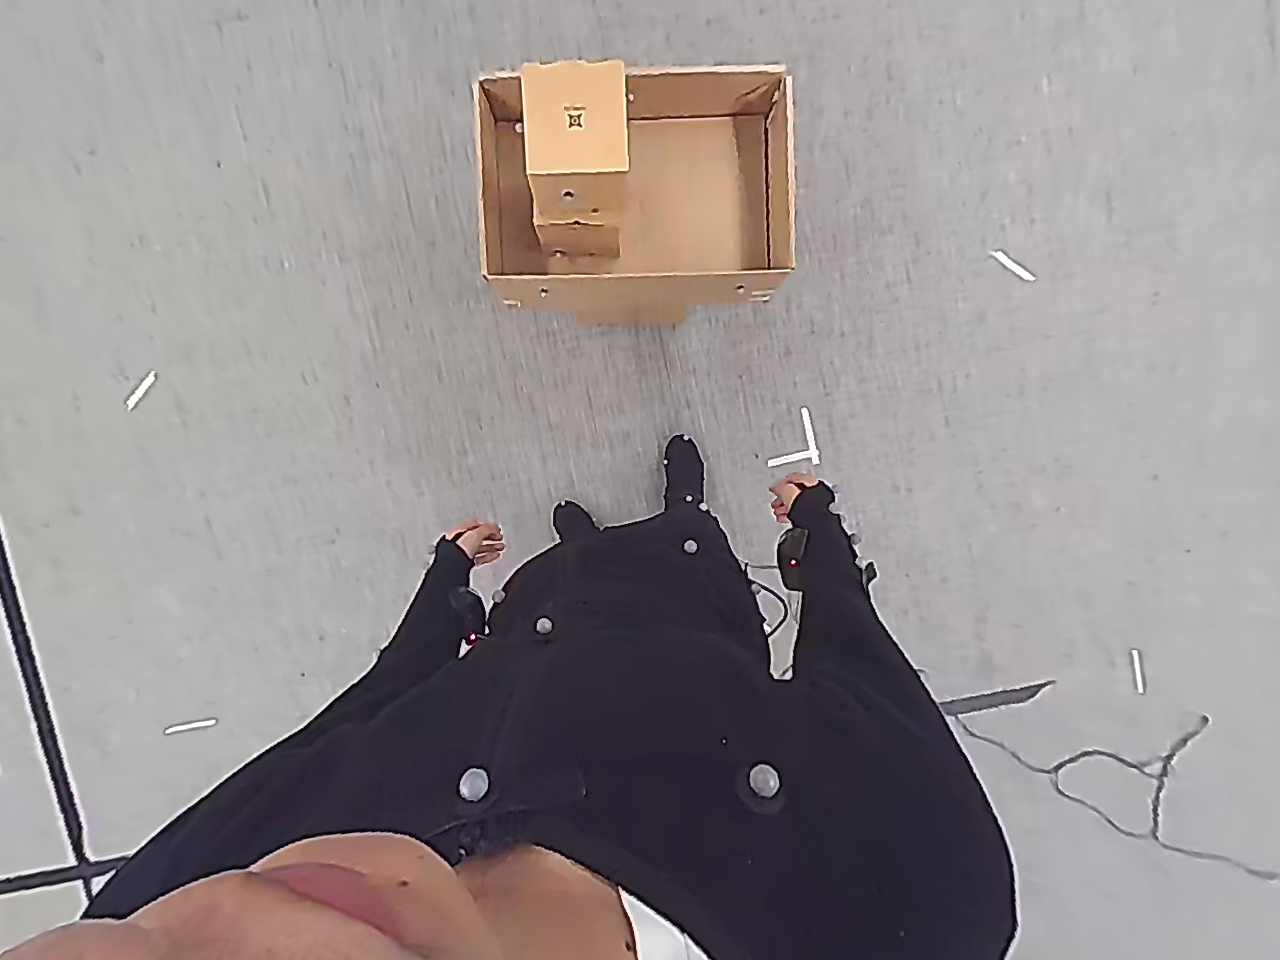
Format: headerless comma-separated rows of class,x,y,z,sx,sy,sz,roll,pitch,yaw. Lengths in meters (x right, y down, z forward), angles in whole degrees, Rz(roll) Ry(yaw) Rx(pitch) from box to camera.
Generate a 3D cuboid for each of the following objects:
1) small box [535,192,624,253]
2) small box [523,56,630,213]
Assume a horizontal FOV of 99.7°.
small box,-0.116,-0.575,1.095,0.168,0.176,0.179,1,92,-2
small box,-0.102,-0.580,0.932,0.168,0.176,0.179,-3,92,-2
